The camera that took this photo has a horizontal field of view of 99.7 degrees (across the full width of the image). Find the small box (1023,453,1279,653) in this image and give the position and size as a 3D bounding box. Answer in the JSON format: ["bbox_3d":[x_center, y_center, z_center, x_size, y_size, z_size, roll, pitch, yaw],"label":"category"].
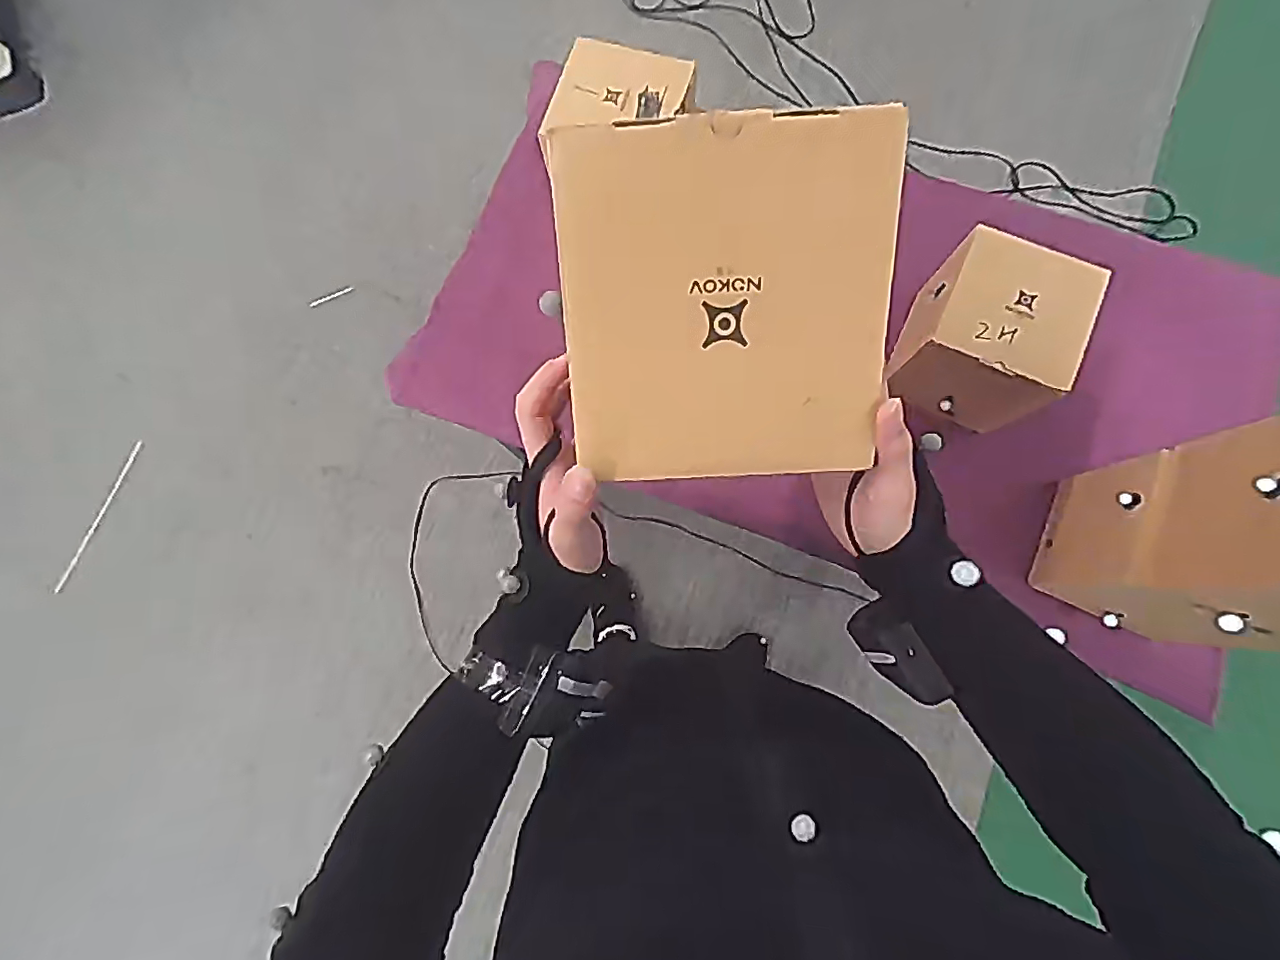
[{"bbox_3d":[0.632,0.090,0.667,0.179,0.176,0.168,25,80,7],"label":"small box"}]

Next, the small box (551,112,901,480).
[{"bbox_3d":[0.044,-0.110,0.353,0.168,0.176,0.179,-3,108,1],"label":"small box"}]

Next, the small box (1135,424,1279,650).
[{"bbox_3d":[0.629,0.054,0.508,0.168,0.176,0.179,25,81,8],"label":"small box"}]

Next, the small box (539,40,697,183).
[{"bbox_3d":[-0.026,-0.493,0.806,0.179,0.176,0.168,17,80,6],"label":"small box"}]

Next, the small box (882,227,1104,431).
[{"bbox_3d":[0.457,-0.192,0.730,0.168,0.176,0.179,25,81,7],"label":"small box"}]
